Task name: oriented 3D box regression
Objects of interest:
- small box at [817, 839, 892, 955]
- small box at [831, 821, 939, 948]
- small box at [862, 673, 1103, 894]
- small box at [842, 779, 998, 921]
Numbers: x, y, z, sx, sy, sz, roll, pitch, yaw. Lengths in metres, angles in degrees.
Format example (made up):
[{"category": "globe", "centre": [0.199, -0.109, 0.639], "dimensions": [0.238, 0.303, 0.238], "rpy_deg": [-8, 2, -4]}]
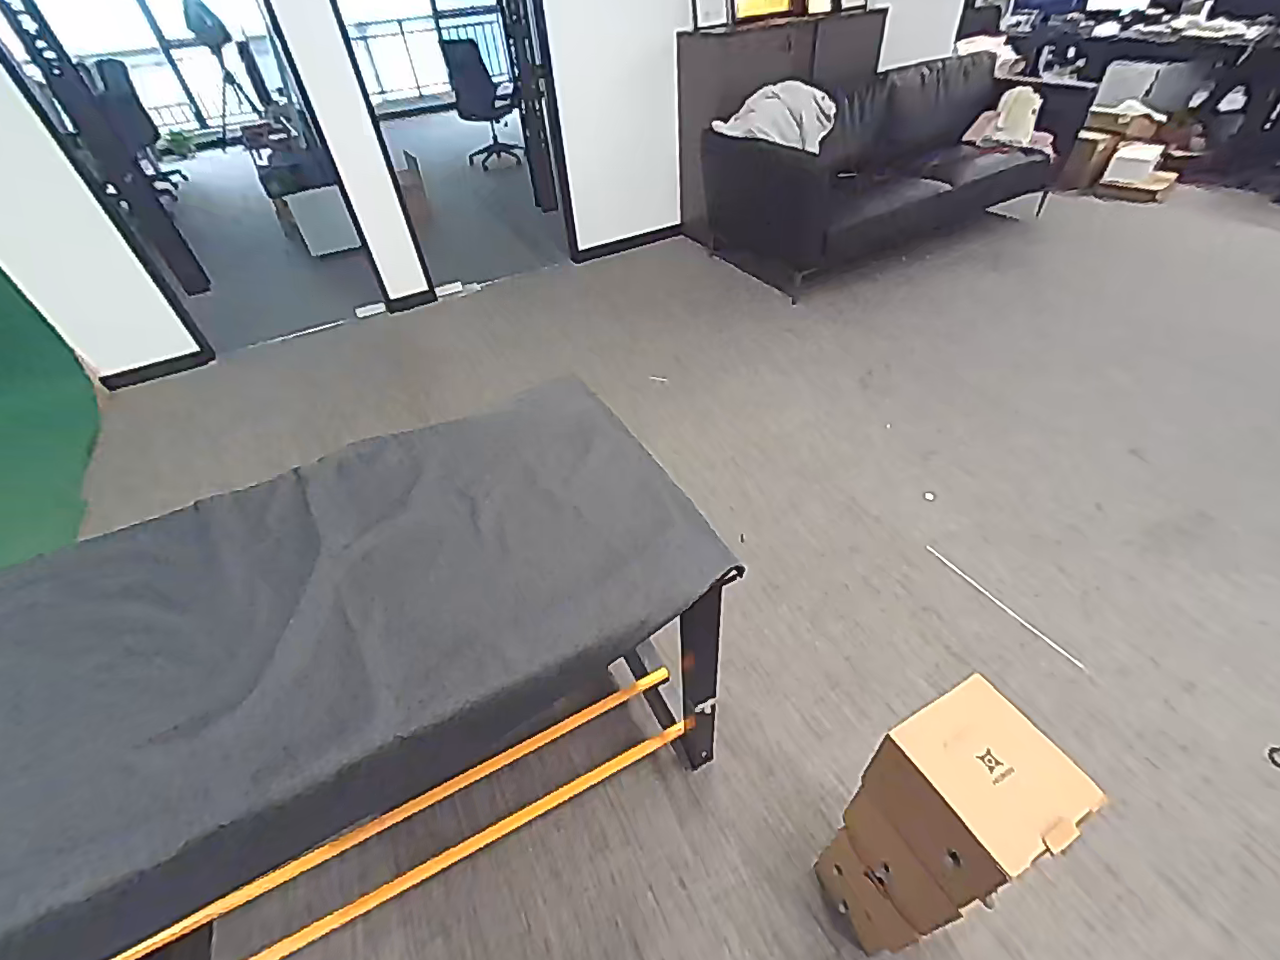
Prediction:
[{"category": "small box", "centre": [0.465, 0.756, 1.031], "dimensions": [0.179, 0.176, 0.168], "rpy_deg": [-21, 44, -17]}, {"category": "small box", "centre": [0.446, 0.643, 0.914], "dimensions": [0.179, 0.176, 0.168], "rpy_deg": [-22, 46, -19]}, {"category": "small box", "centre": [0.423, 0.396, 0.701], "dimensions": [0.168, 0.176, 0.179], "rpy_deg": [-22, 45, -18]}, {"category": "small box", "centre": [0.435, 0.517, 0.807], "dimensions": [0.168, 0.176, 0.179], "rpy_deg": [-21, 46, -18]}]
